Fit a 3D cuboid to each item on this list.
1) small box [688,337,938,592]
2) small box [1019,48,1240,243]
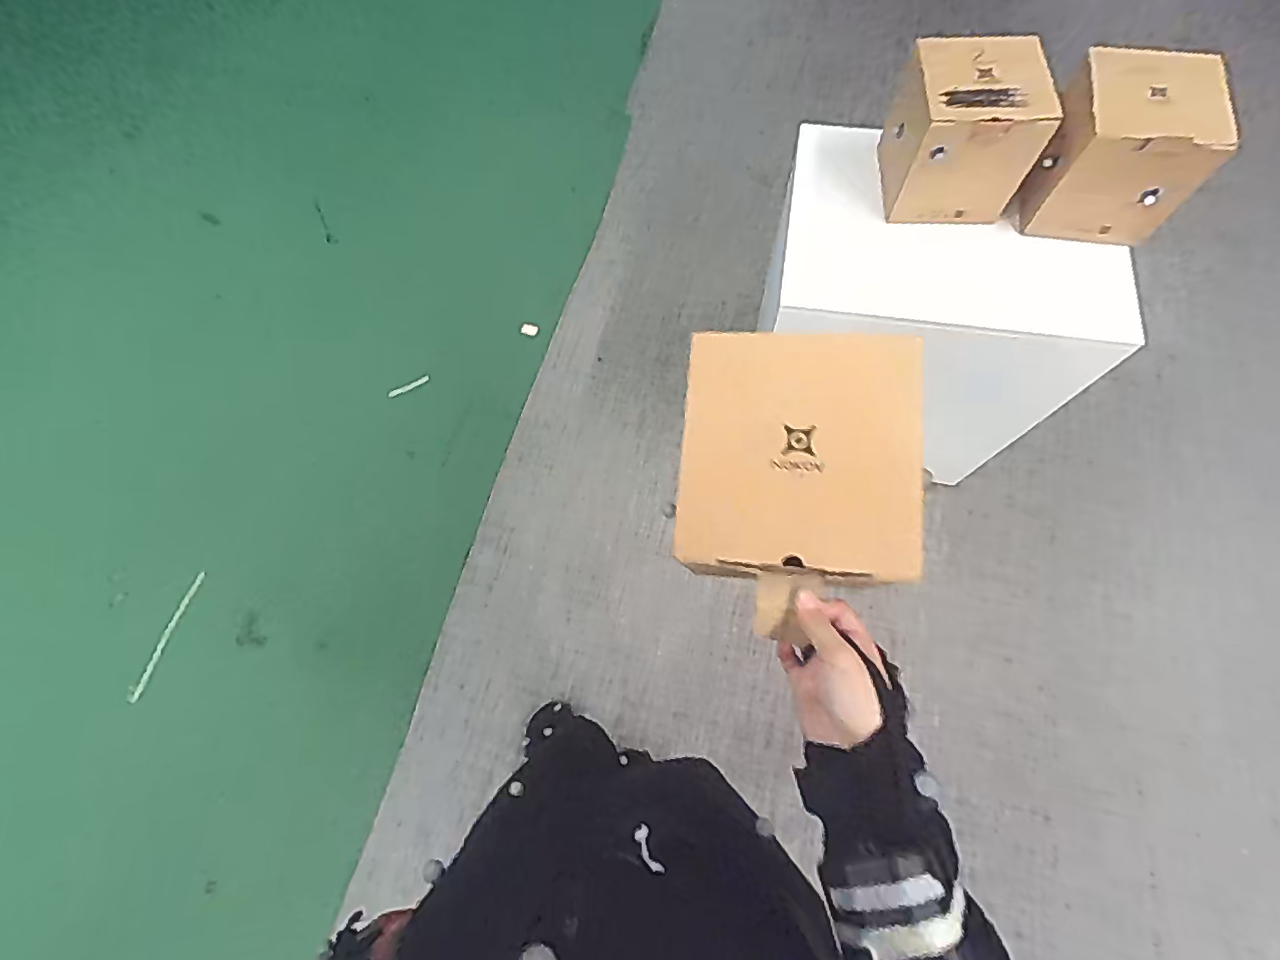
[{"bbox_3d":[0.137,-0.003,0.460,0.168,0.176,0.179,4,78,12],"label":"small box"},{"bbox_3d":[0.679,-0.470,0.776,0.168,0.176,0.179,10,69,7],"label":"small box"}]
